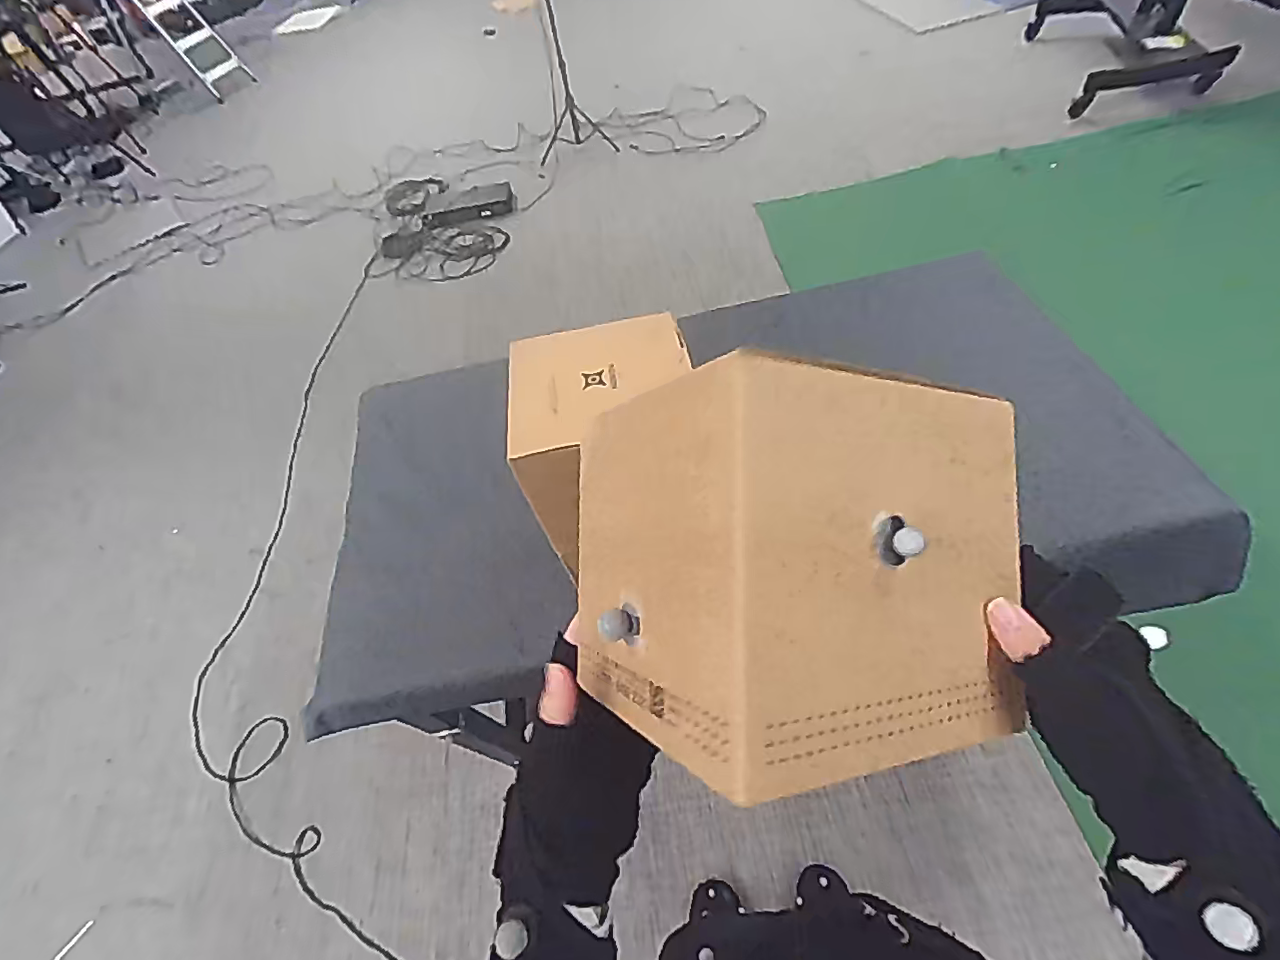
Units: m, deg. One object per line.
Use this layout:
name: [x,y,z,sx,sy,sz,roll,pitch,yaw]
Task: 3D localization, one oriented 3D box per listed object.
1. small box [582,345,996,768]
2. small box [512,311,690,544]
small box: [0.075,0.037,0.314,0.179,0.168,0.176,3,85,-29]
small box: [-0.027,-0.051,0.586,0.179,0.176,0.168,-11,51,3]
